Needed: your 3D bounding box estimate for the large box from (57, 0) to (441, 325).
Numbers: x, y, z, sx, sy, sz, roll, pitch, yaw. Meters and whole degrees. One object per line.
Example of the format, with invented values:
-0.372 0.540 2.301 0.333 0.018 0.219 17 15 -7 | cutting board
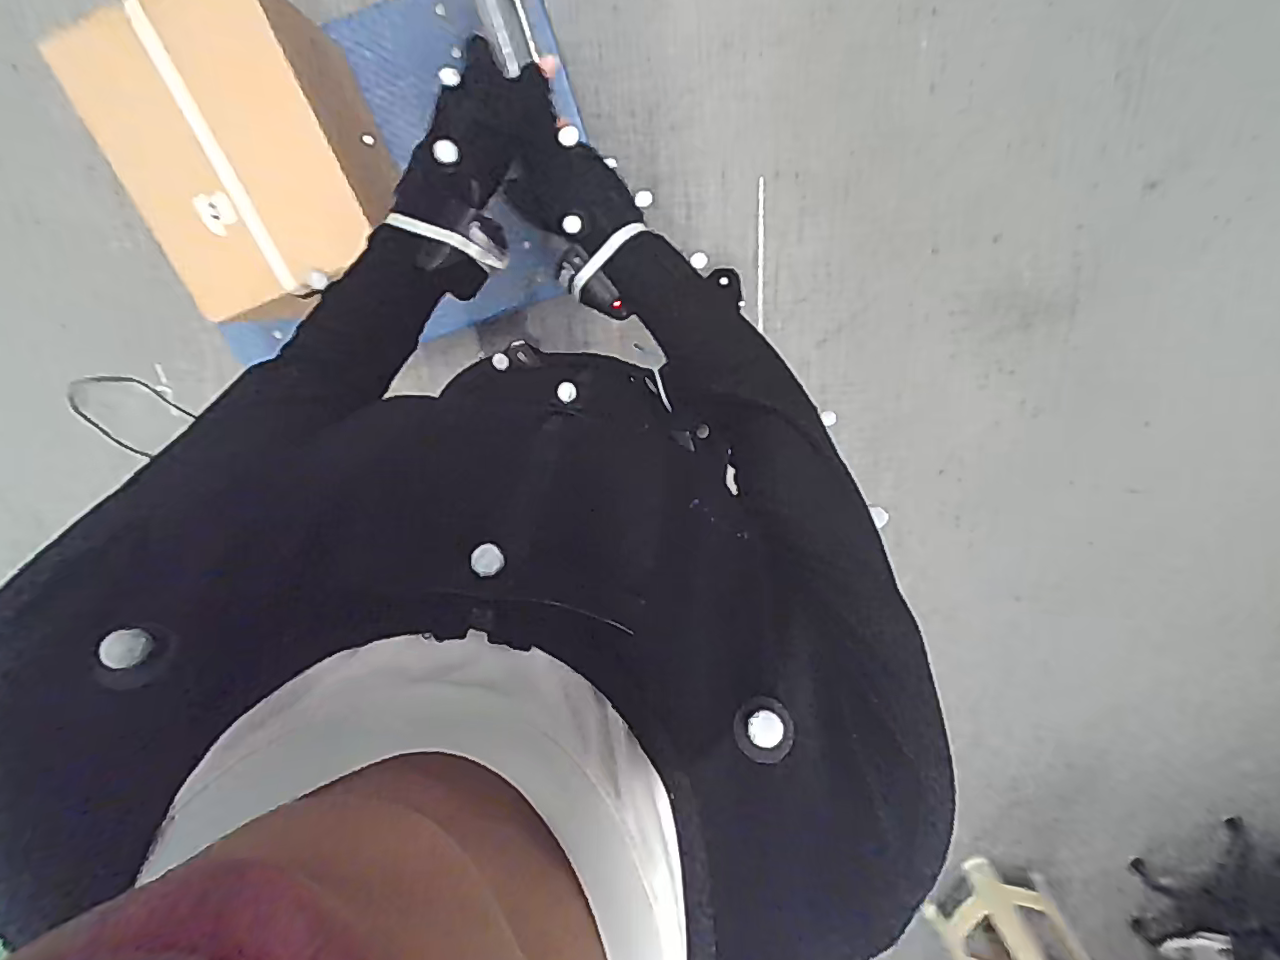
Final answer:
-0.617 -0.528 0.950 0.320 0.320 0.408 -20 109 4 | large box
